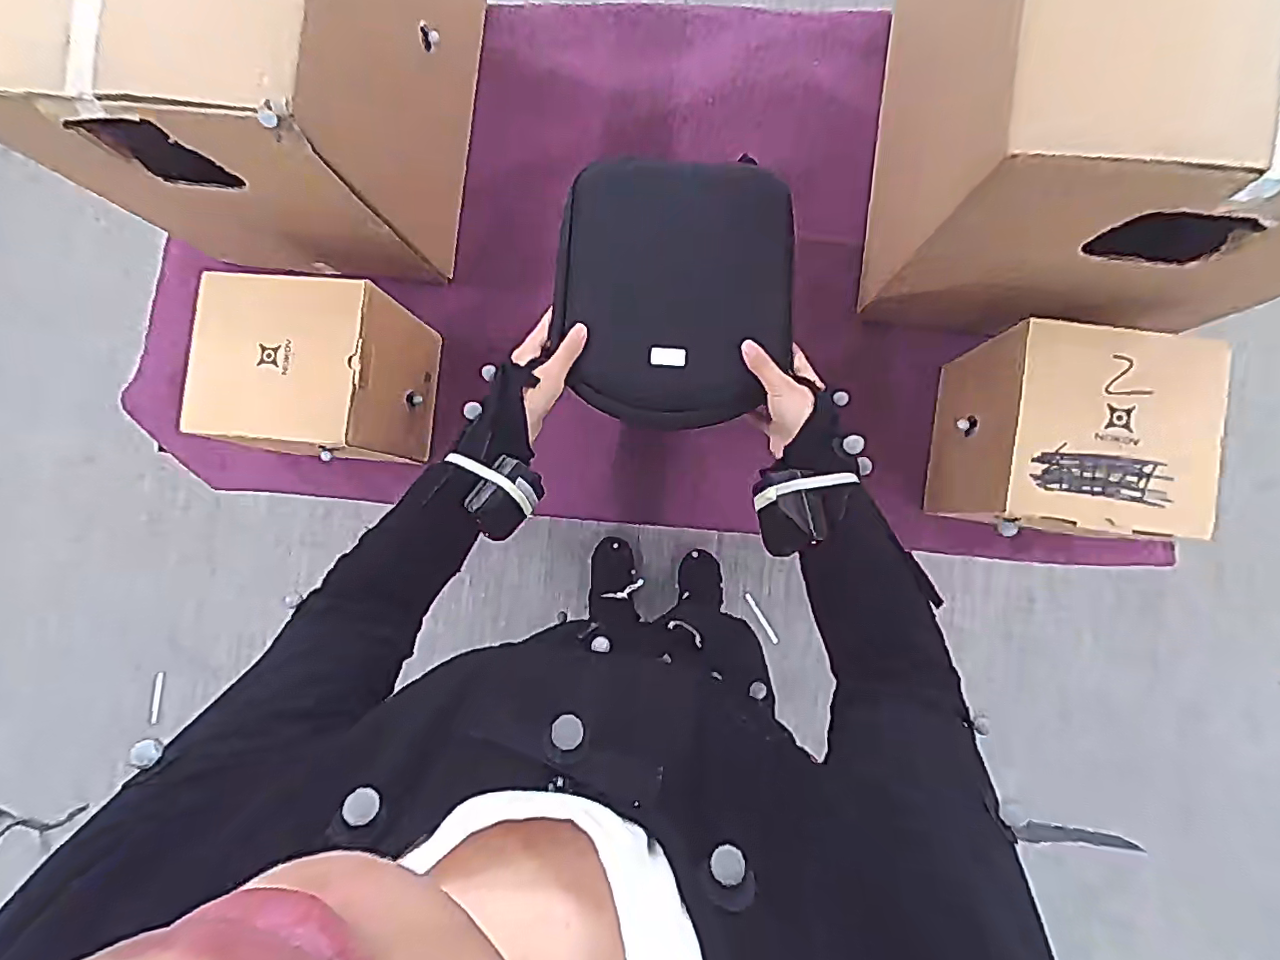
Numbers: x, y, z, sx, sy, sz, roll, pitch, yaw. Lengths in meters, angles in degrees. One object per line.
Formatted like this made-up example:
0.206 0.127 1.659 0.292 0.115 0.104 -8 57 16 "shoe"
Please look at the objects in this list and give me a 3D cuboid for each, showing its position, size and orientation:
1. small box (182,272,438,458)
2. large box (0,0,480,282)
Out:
-0.359 -0.119 0.618 0.179 0.176 0.168 4 86 4 "small box"
-0.379 -0.471 0.567 0.320 0.320 0.408 6 90 4 "large box"
